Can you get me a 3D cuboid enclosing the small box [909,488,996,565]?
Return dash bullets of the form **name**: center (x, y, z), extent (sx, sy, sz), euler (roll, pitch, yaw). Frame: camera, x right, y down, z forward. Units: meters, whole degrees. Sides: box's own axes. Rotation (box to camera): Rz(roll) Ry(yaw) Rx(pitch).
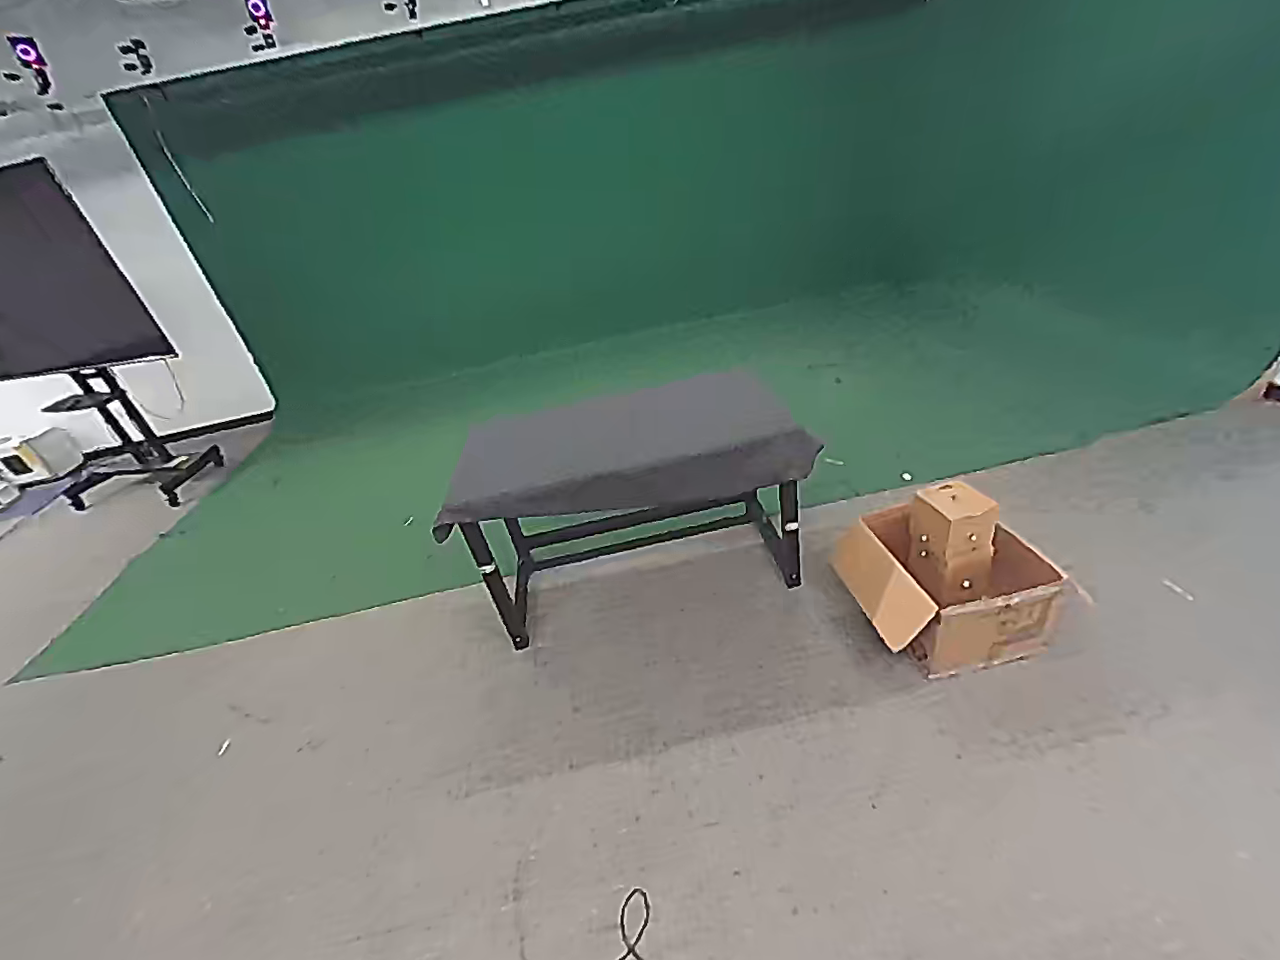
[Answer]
- **small box**: center (0.998, 0.156, 1.742), extent (0.168, 0.176, 0.179), euler (-16, 31, -8)
